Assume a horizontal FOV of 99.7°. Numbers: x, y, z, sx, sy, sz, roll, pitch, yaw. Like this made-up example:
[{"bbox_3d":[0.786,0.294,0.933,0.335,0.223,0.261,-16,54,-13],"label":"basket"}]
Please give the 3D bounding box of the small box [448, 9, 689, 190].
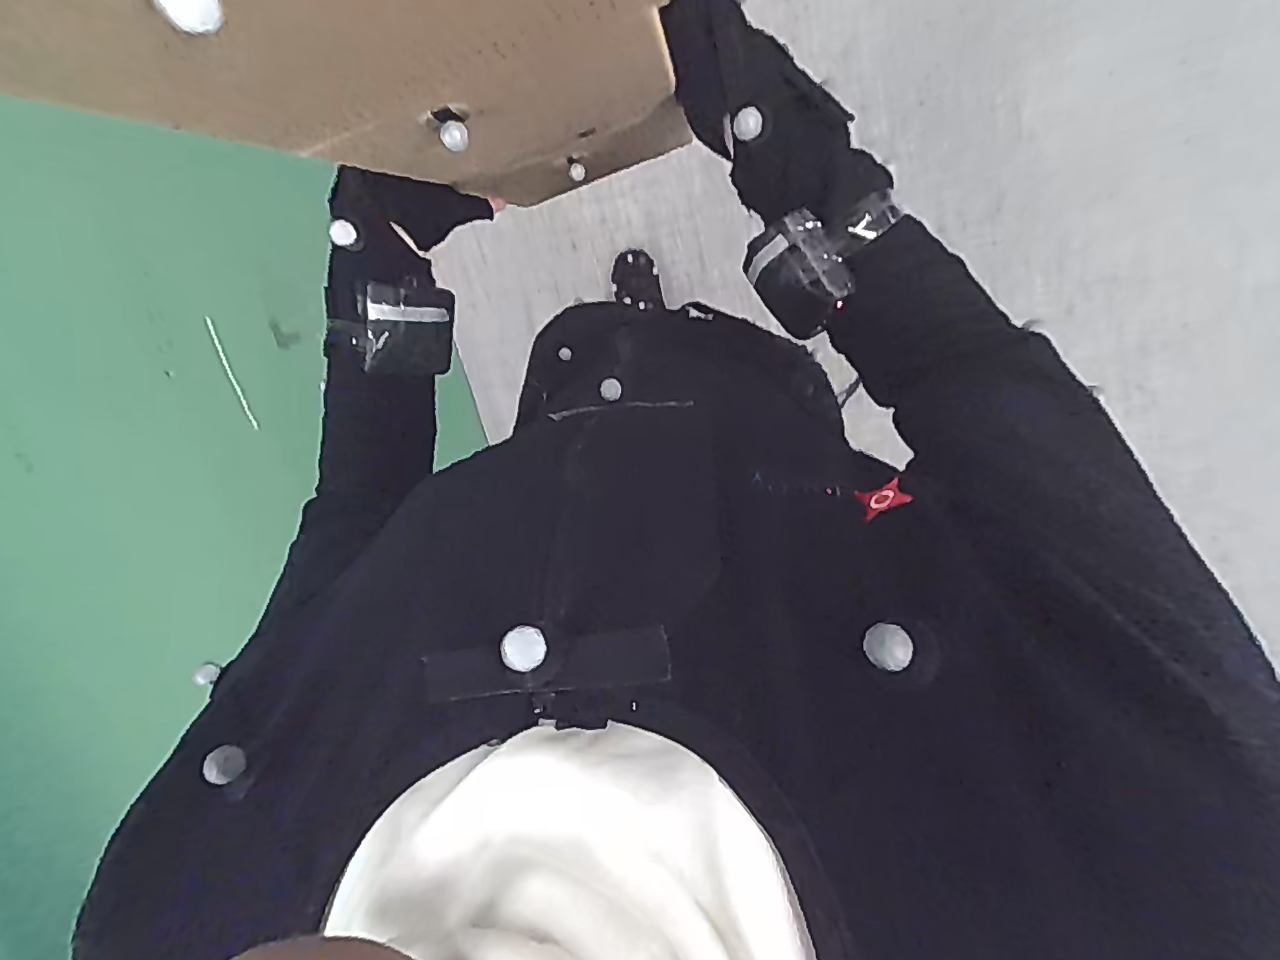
[{"bbox_3d":[-0.067,-0.344,0.417,0.179,0.176,0.168,-15,111,12],"label":"small box"}]
